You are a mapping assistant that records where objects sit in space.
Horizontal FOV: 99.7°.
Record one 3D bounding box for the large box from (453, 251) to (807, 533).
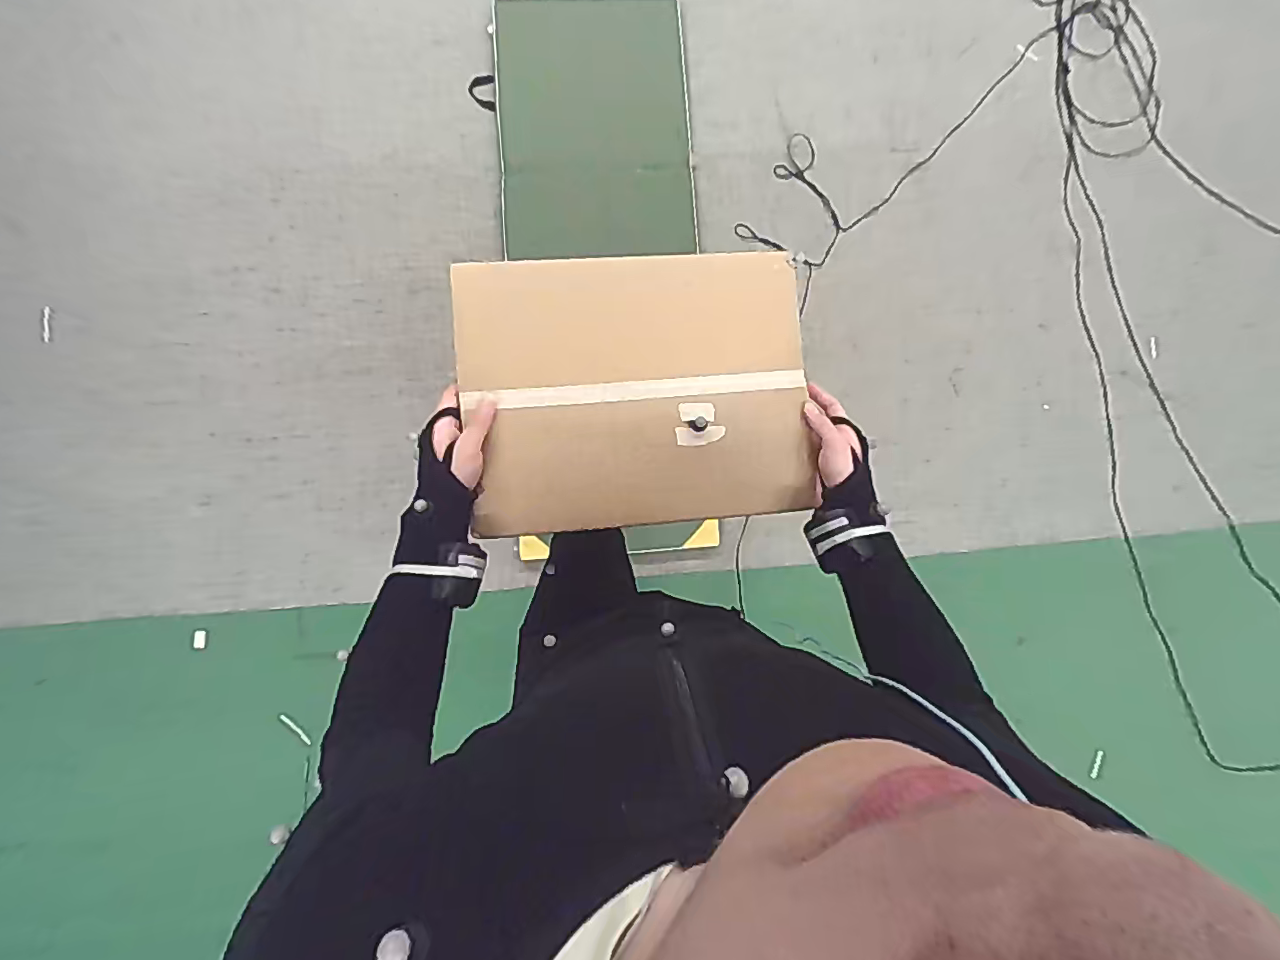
[{"bbox_3d":[-0.023,-0.105,0.790,0.408,0.320,0.320,-5,89,-6],"label":"large box"}]
